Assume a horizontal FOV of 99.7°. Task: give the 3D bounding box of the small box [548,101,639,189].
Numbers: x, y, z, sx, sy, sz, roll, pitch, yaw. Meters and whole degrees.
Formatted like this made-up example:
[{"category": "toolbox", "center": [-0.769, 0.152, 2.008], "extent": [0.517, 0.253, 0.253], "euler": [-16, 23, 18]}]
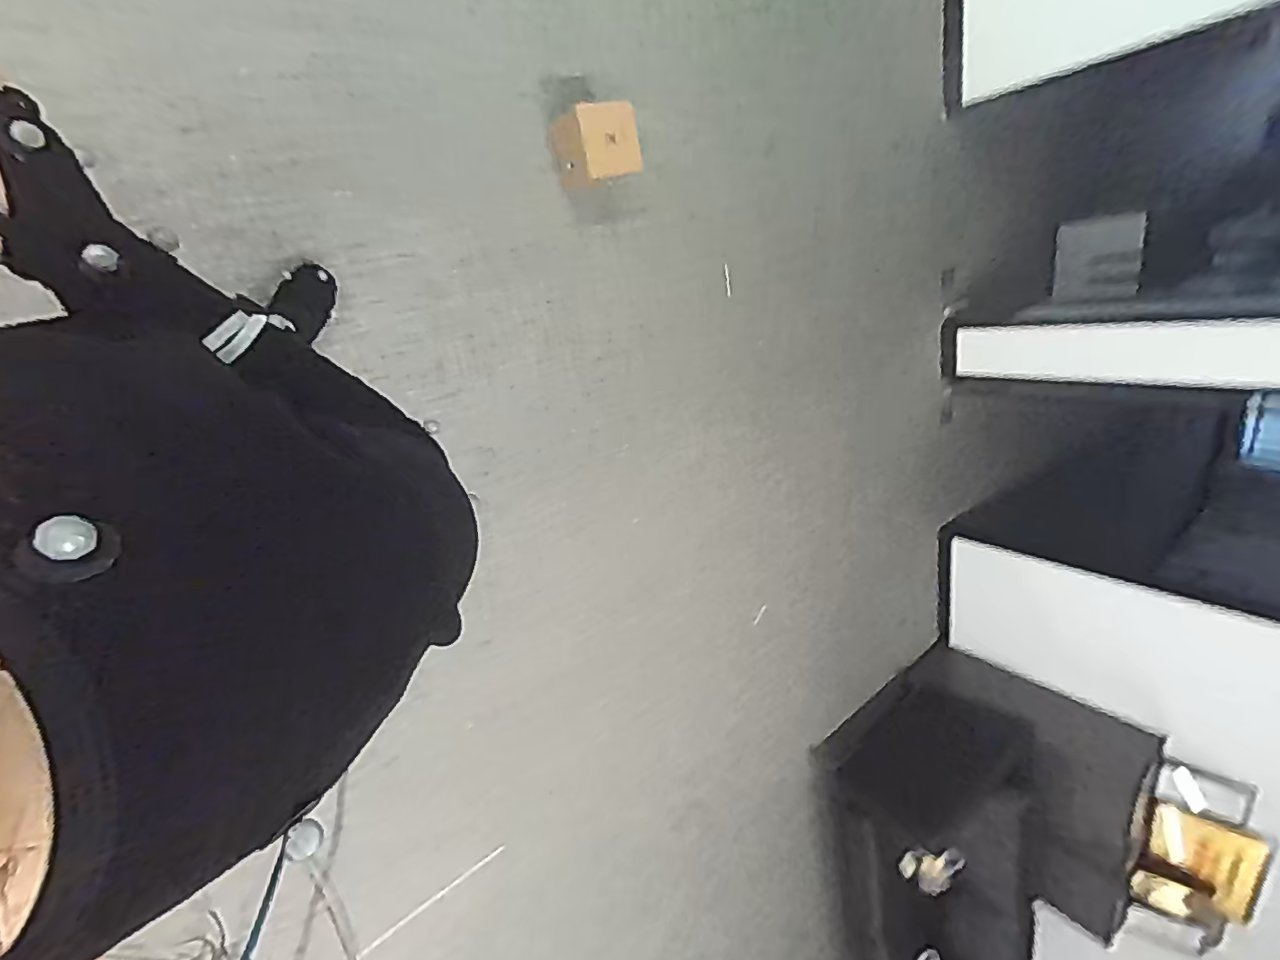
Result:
[{"category": "small box", "center": [-0.131, -0.895, 1.453], "extent": [0.179, 0.176, 0.168], "euler": [-25, 116, -29]}]
